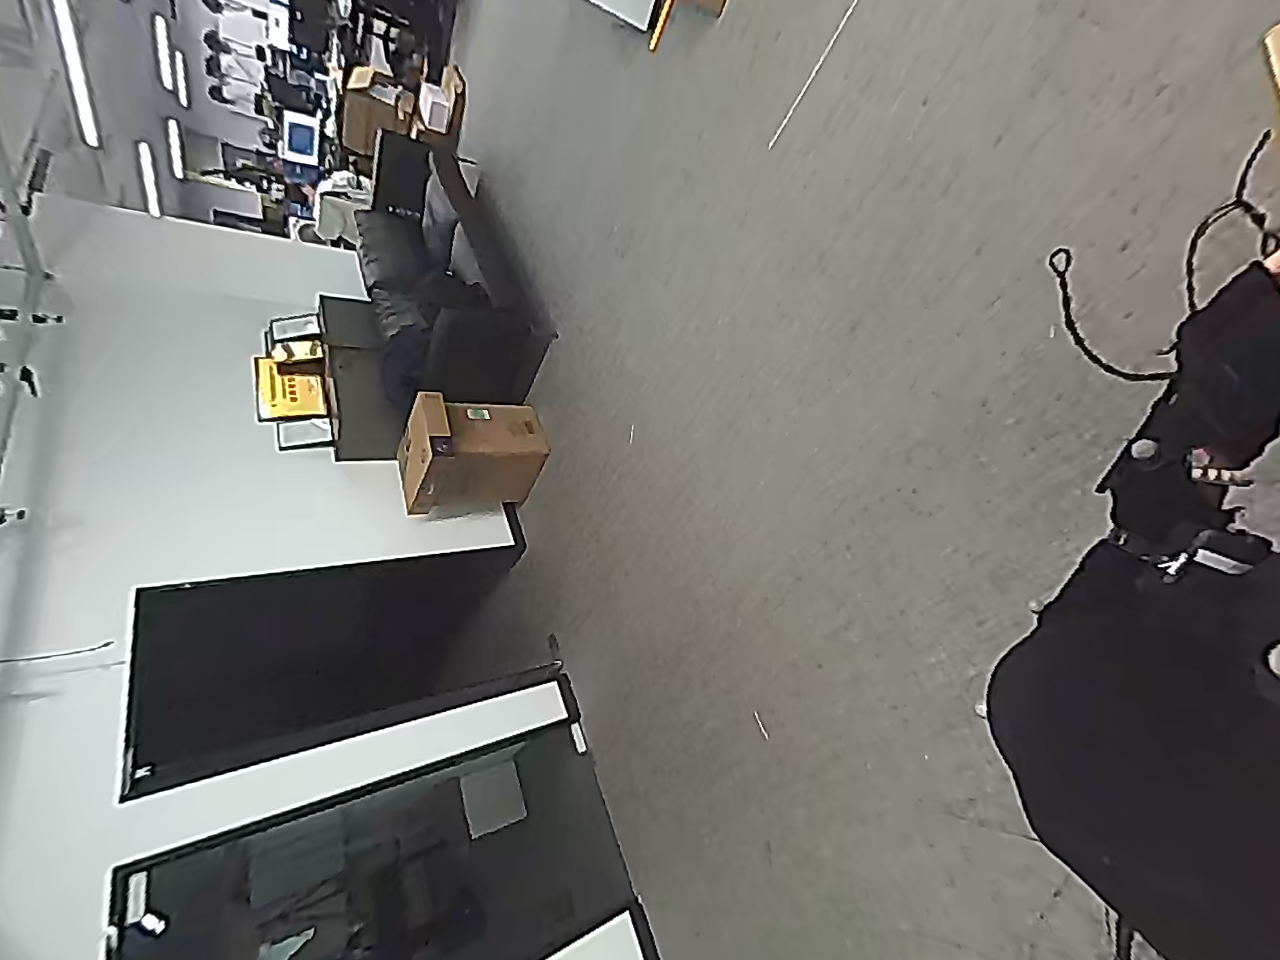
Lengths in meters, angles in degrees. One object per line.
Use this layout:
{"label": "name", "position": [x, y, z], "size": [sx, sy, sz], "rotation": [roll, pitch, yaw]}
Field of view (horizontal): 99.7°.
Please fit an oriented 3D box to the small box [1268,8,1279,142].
{"label": "small box", "position": [0.507, -0.218, 0.310], "size": [0.168, 0.176, 0.179], "rotation": [-16, 81, 49]}
